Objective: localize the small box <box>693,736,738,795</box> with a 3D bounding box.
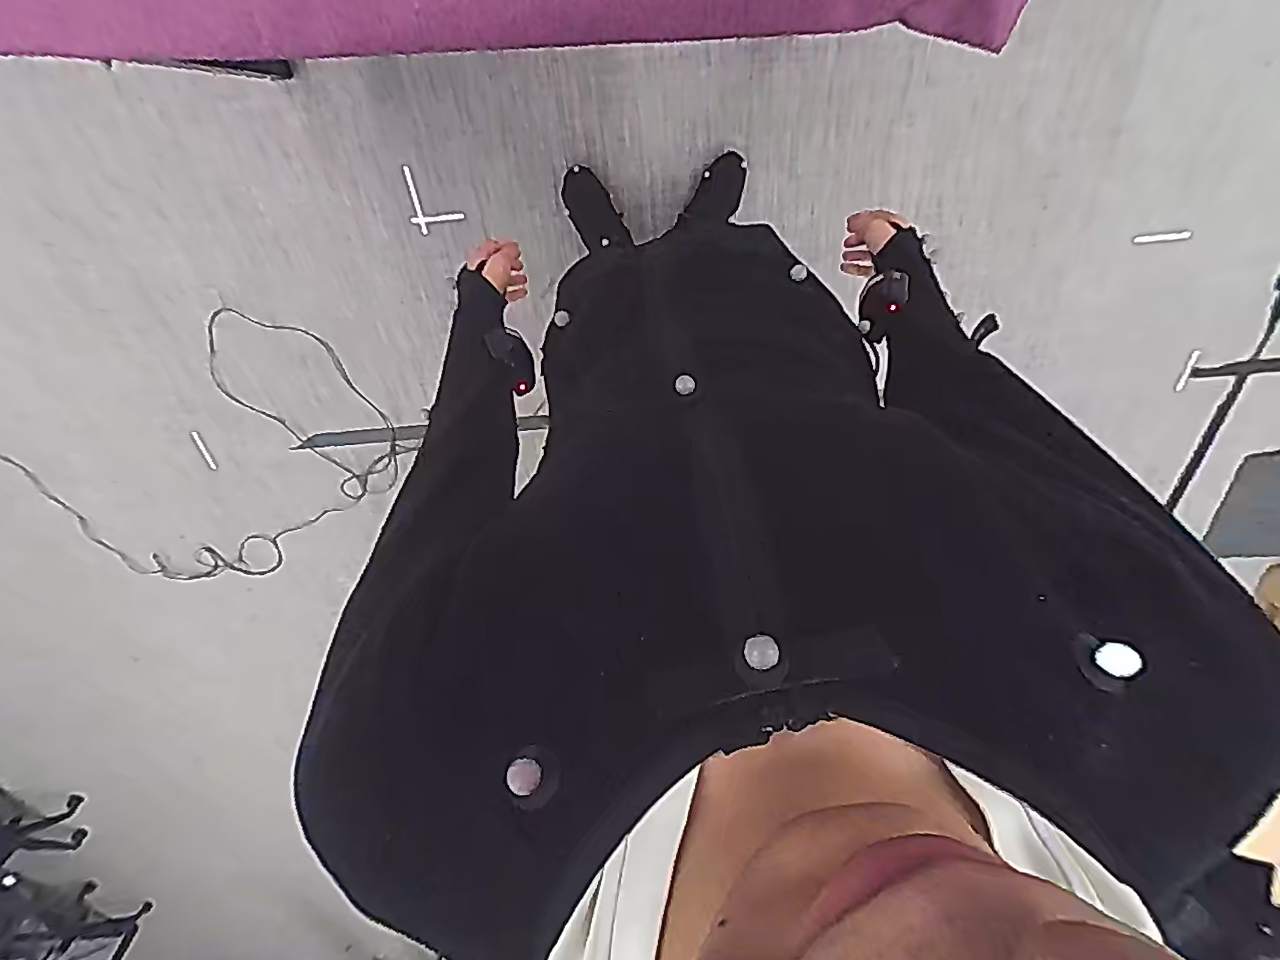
[{"bbox_3d":[0.328,1.259,2.384,0.168,0.176,0.179,-3,123,-3],"label":"small box"}]
